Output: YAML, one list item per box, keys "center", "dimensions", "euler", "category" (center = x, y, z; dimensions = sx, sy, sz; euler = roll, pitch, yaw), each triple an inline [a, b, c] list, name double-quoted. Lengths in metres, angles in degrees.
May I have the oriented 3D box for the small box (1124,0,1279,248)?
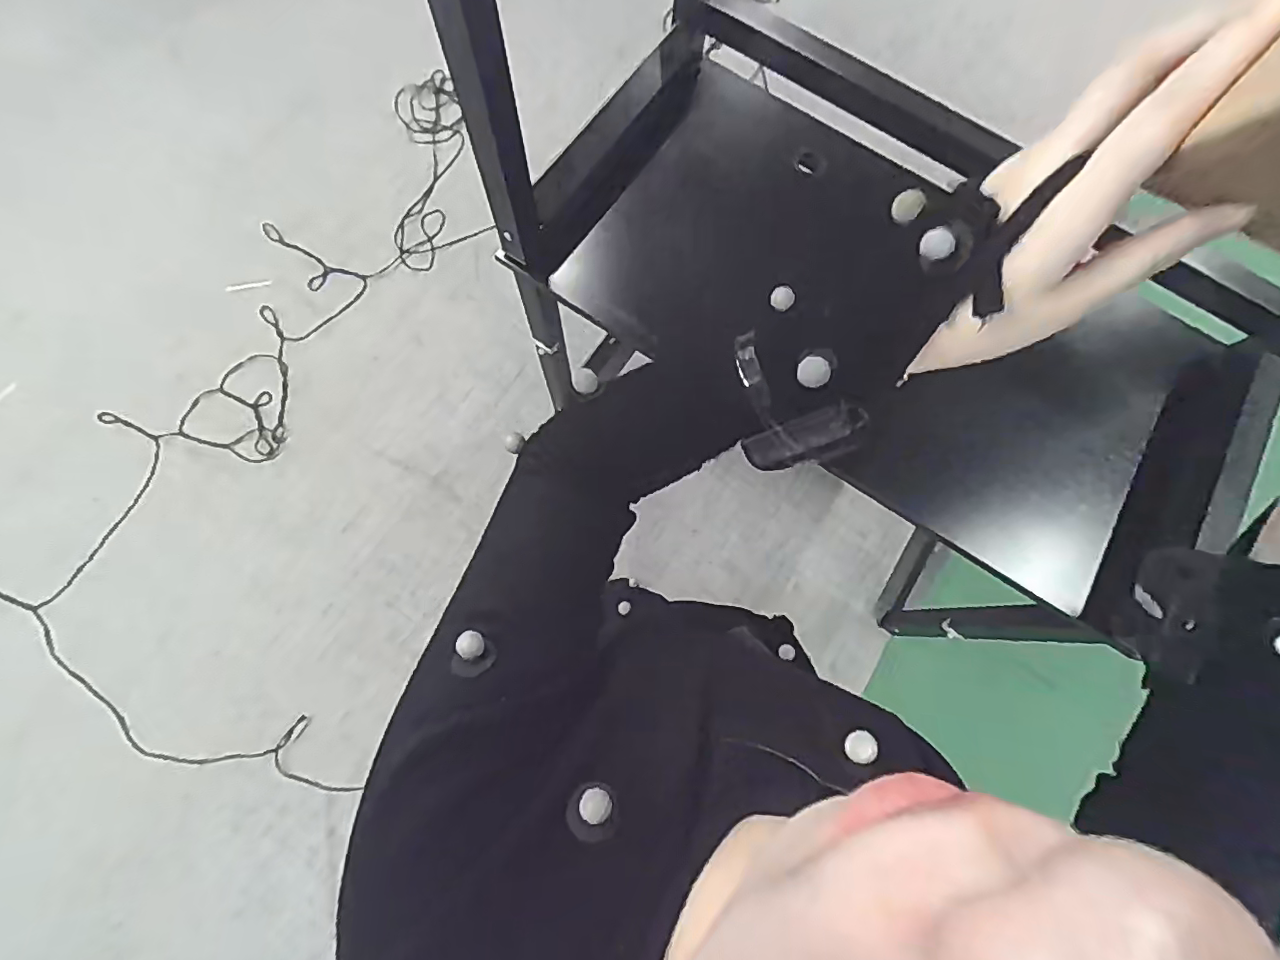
- center: [0.268, -0.122, 0.109]
  dimensions: [0.179, 0.176, 0.168]
  euler: [33, 118, 8]
  category: "small box"
